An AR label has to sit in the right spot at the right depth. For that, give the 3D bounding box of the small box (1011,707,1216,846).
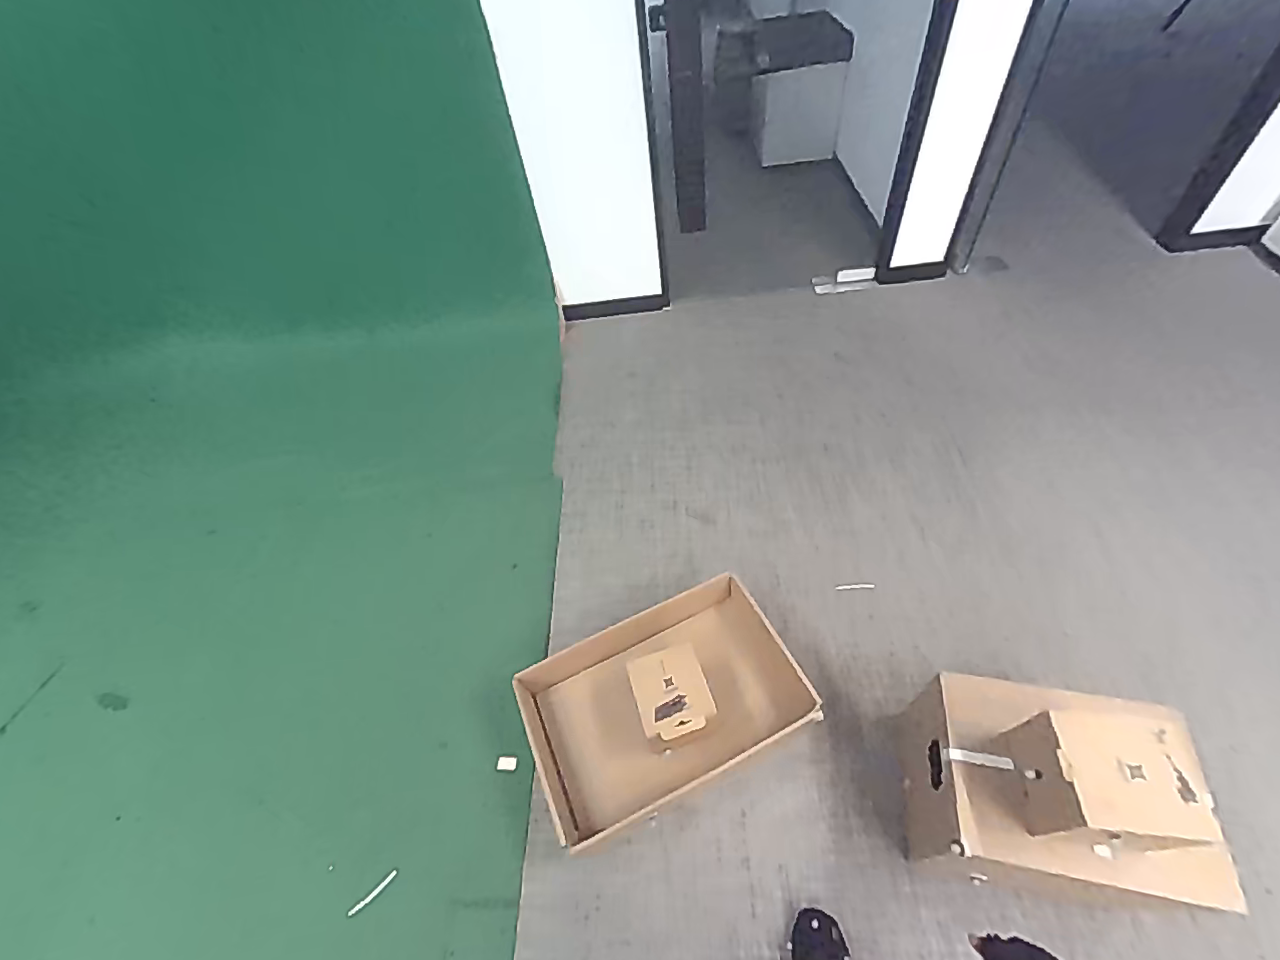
[{"bbox_3d":[0.734,0.480,0.872,0.179,0.176,0.168,0,53,9],"label":"small box"}]

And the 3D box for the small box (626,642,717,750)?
[{"bbox_3d":[0.078,0.518,1.279,0.168,0.176,0.179,-18,50,-5],"label":"small box"}]
